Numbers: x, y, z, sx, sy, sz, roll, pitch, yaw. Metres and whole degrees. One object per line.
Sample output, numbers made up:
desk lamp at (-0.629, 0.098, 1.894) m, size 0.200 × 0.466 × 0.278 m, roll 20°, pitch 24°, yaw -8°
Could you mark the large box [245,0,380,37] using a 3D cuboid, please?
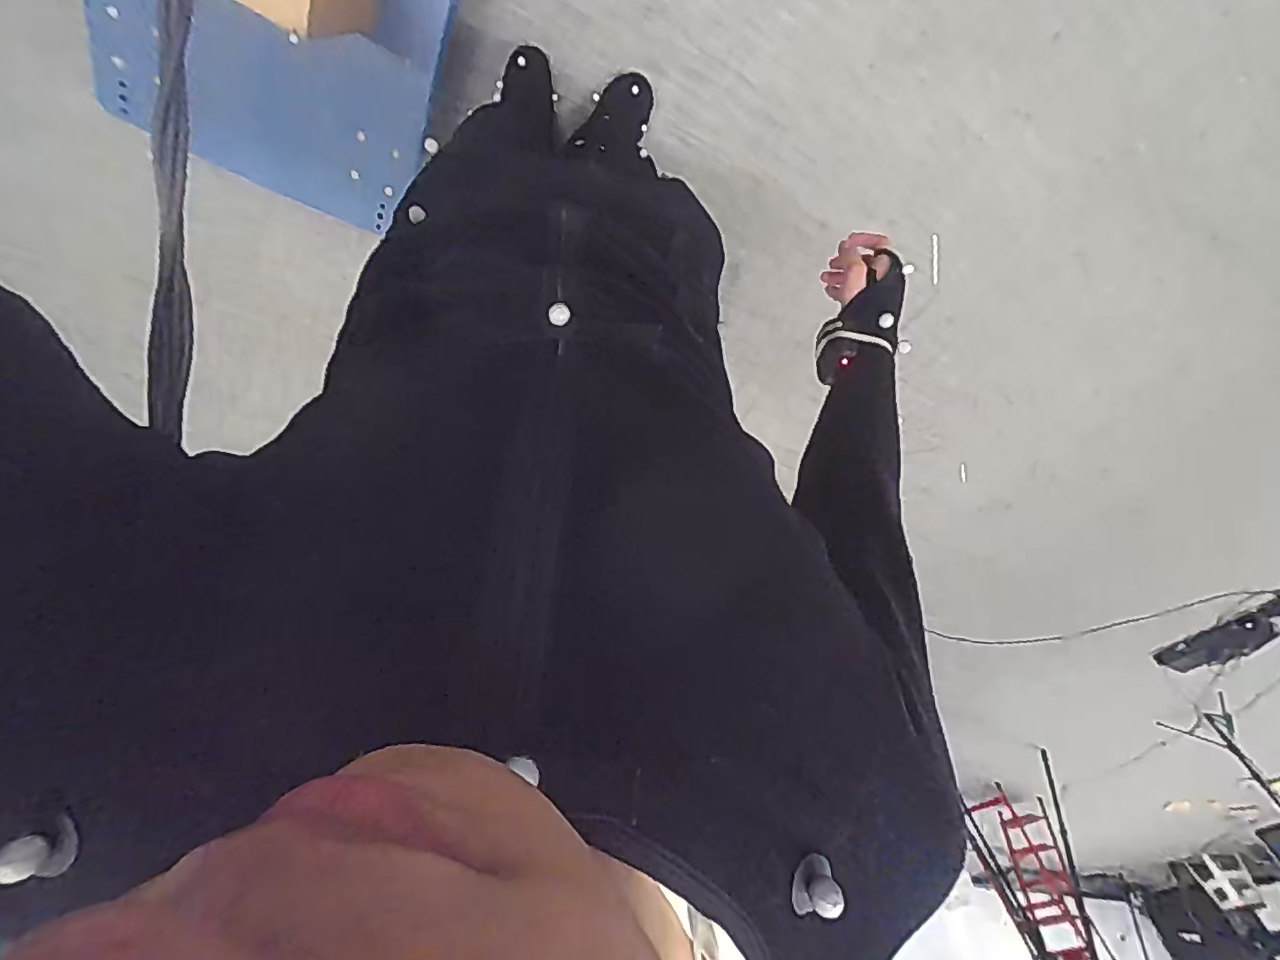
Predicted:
large box at (-0.516, -0.916, 0.714) m, size 0.320 × 0.320 × 0.408 m, roll 21°, pitch 129°, yaw -20°
